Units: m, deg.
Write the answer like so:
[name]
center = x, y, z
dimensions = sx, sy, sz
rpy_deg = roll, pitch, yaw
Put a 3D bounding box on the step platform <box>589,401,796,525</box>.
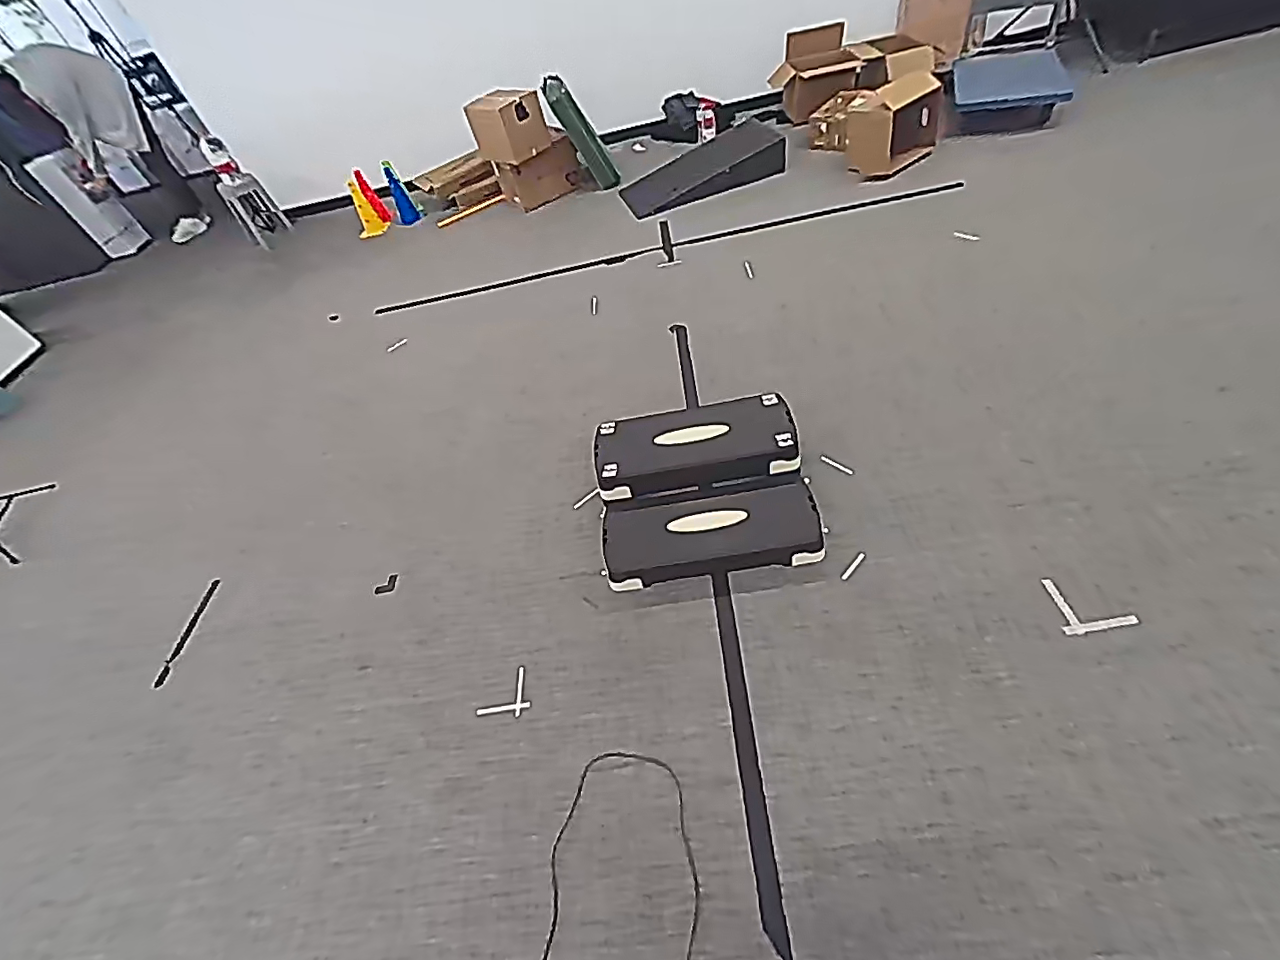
[step platform]
center = 0.169, -0.061, 1.835
dimensions = 0.684, 0.204, 0.286
rpy_deg = -10, 49, 5
